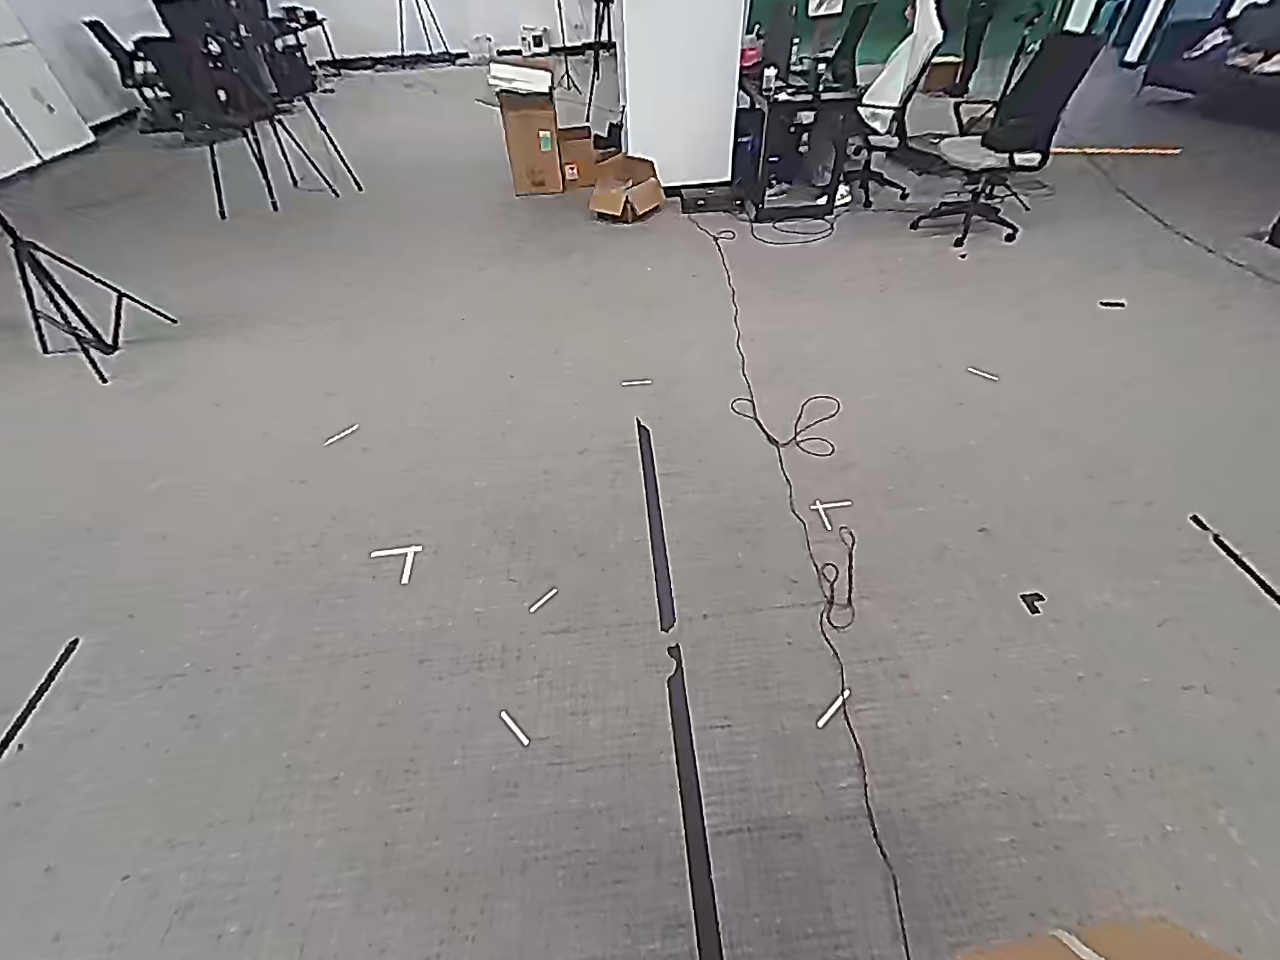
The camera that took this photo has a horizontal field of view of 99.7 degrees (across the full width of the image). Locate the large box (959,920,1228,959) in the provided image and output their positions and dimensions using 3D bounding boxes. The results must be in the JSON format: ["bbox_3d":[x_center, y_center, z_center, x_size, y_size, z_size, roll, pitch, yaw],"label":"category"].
[{"bbox_3d":[0.613,0.747,0.534,0.320,0.408,0.320,-10,79,-2],"label":"large box"}]
